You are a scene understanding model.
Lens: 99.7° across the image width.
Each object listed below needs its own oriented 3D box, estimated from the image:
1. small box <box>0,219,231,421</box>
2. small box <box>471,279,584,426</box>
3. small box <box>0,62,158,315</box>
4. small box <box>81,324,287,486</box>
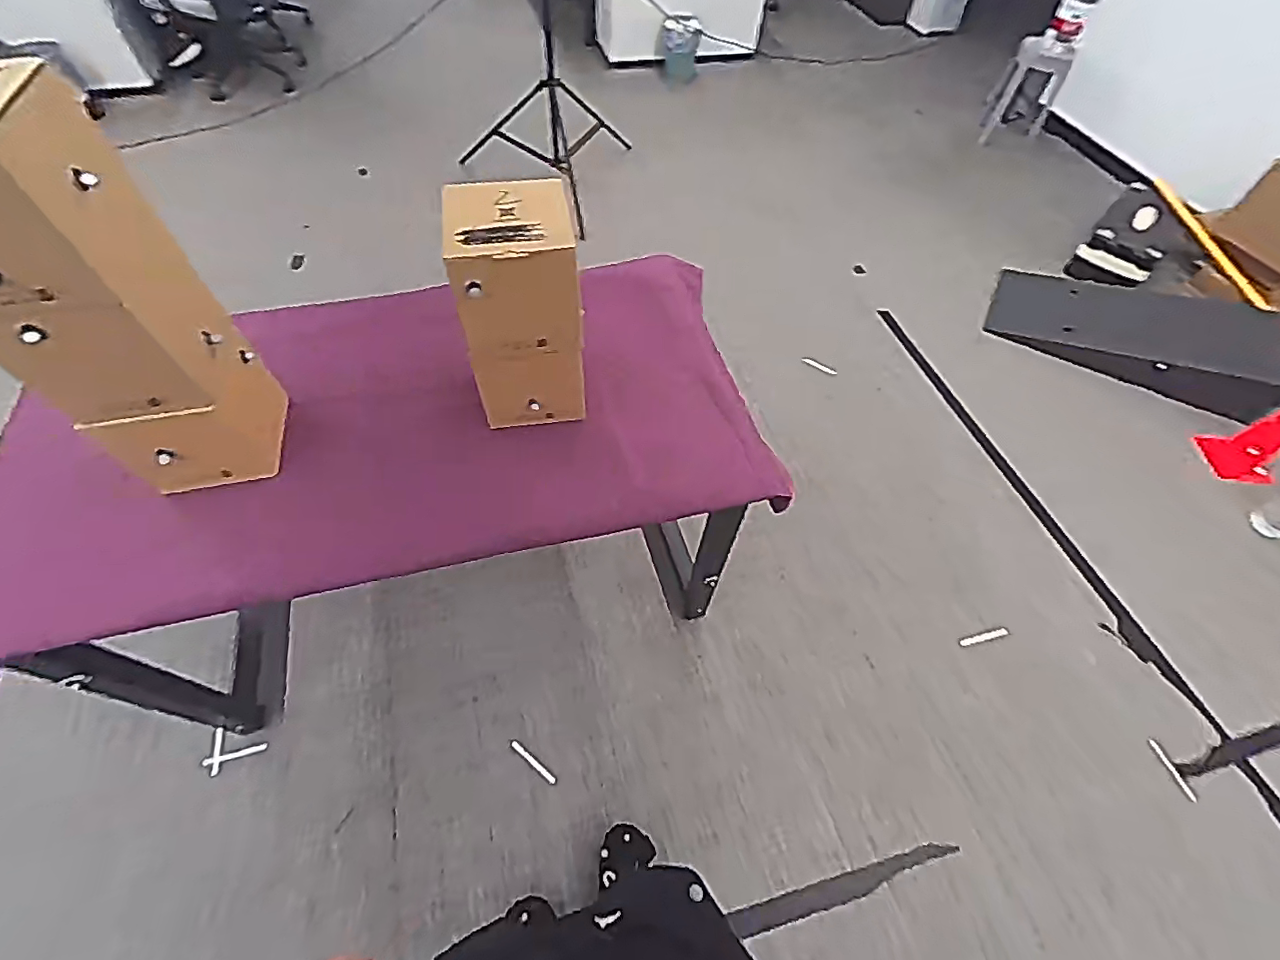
[{"bbox_3d":[-0.663,-0.202,0.689,0.168,0.176,0.179,-11,57,-10],"label":"small box"},{"bbox_3d":[-0.187,-0.215,0.920,0.168,0.176,0.179,-7,57,-7],"label":"small box"},{"bbox_3d":[-0.650,-0.293,0.552,0.168,0.176,0.179,-10,58,-10],"label":"small box"},{"bbox_3d":[-0.668,-0.106,0.822,0.168,0.176,0.179,-10,57,-10],"label":"small box"}]
